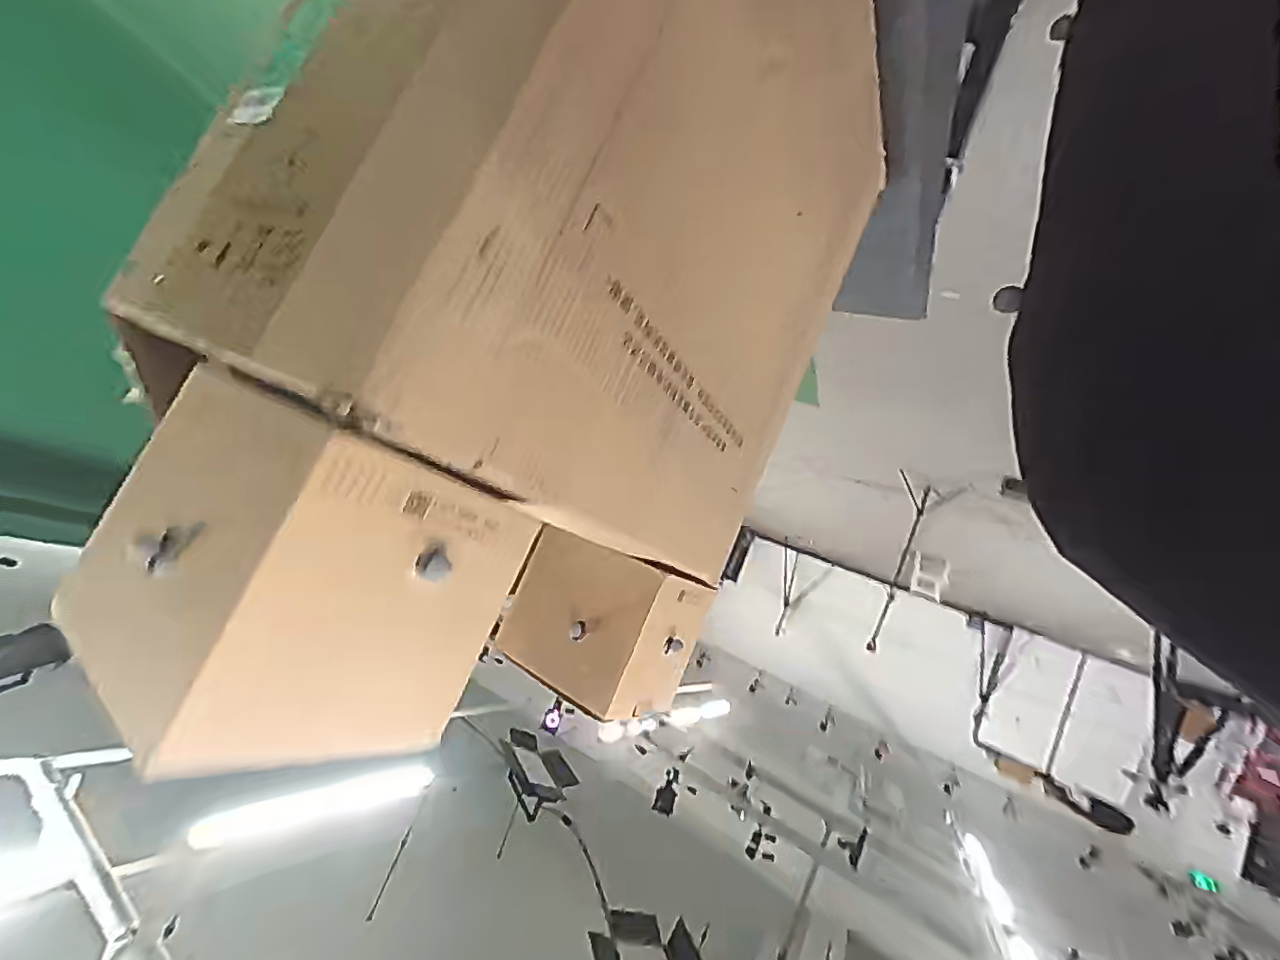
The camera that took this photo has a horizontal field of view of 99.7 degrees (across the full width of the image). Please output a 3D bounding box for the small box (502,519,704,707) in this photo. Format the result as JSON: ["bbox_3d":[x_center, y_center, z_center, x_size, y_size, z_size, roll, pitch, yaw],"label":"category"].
[{"bbox_3d":[-0.035,0.164,0.691,0.179,0.176,0.168,19,173,32],"label":"small box"}]

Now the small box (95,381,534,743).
[{"bbox_3d":[-0.207,0.050,0.372,0.179,0.176,0.168,19,171,32],"label":"small box"}]
